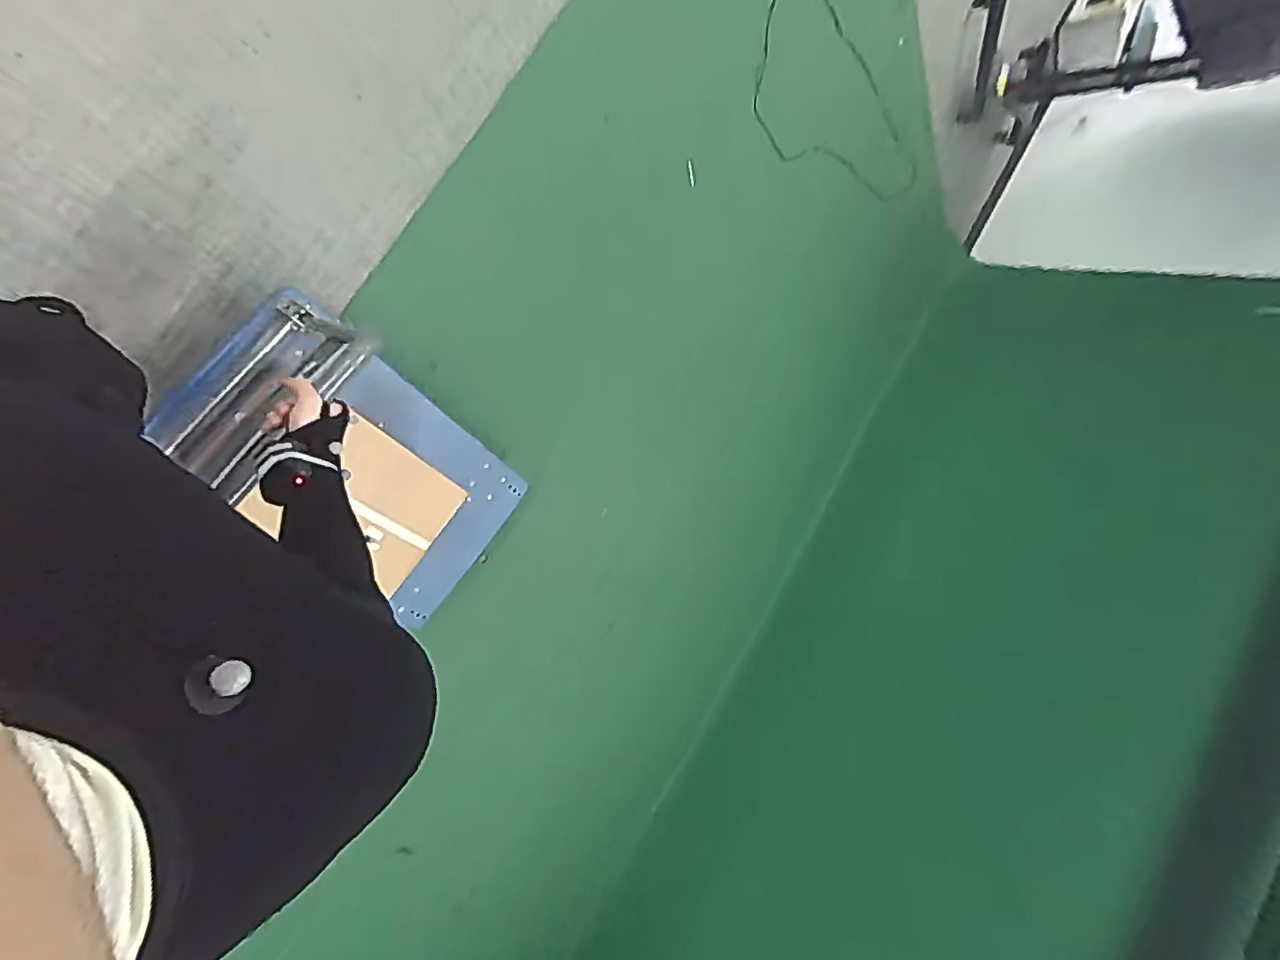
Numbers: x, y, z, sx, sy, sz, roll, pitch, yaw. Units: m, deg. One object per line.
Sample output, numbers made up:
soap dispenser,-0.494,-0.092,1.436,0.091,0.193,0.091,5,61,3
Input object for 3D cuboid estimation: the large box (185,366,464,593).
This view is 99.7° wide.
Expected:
large box,-0.707,-0.001,1.240,0.320,0.320,0.408,-55,138,-12
